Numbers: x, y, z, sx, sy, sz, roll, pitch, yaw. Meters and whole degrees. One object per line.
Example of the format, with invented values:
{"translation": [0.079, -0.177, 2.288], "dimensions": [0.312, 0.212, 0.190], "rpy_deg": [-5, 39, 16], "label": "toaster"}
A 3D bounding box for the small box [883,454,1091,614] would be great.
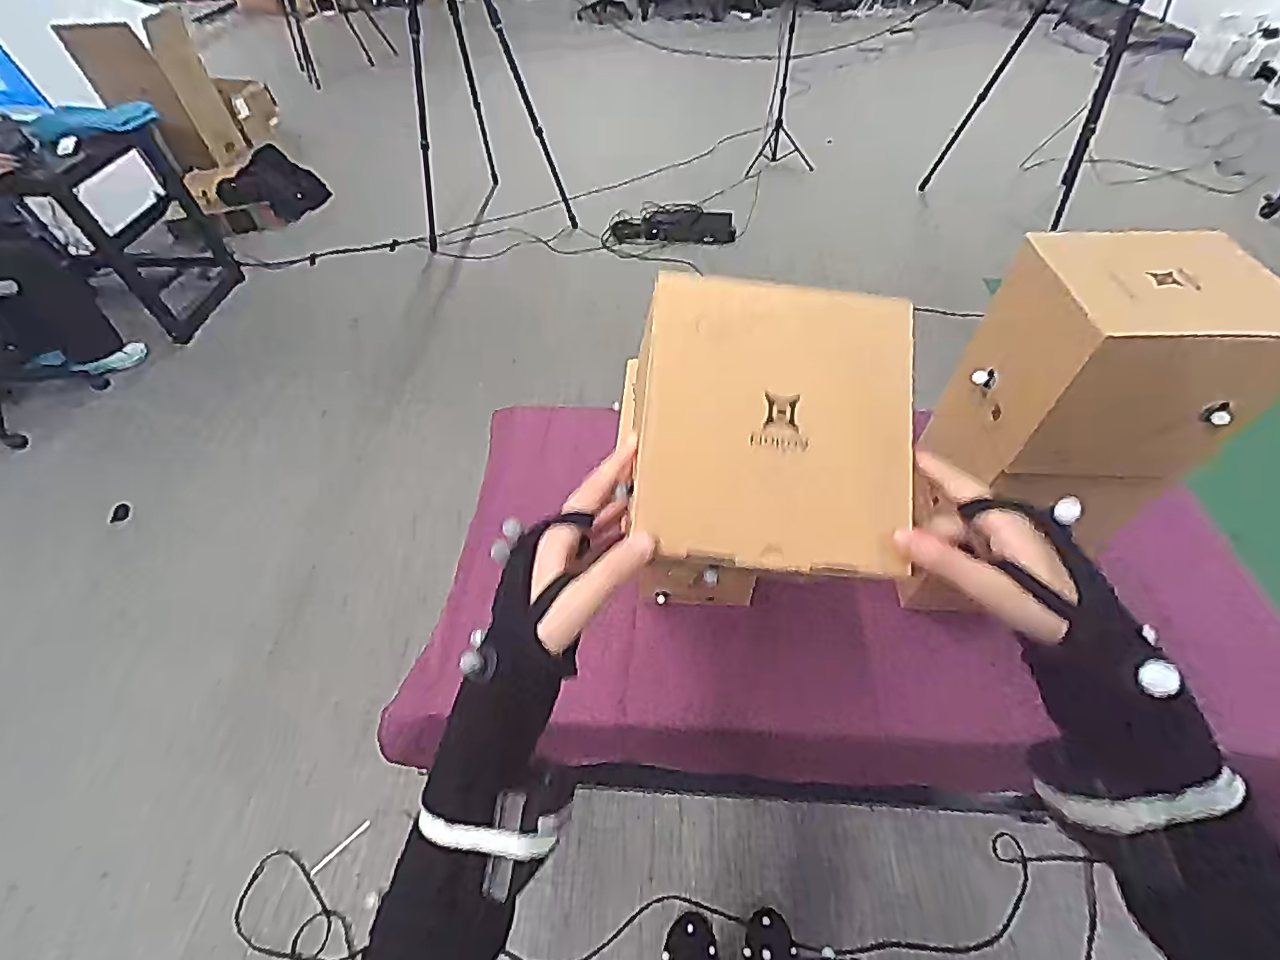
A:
{"translation": [0.479, 0.082, 0.781], "dimensions": [0.179, 0.176, 0.168], "rpy_deg": [2, 51, 5], "label": "small box"}

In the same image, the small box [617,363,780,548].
{"translation": [0.069, -0.027, 0.683], "dimensions": [0.179, 0.176, 0.168], "rpy_deg": [2, 51, 4], "label": "small box"}

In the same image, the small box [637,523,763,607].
{"translation": [0.087, 0.076, 0.811], "dimensions": [0.168, 0.176, 0.179], "rpy_deg": [1, 50, 4], "label": "small box"}

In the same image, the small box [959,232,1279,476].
{"translation": [0.449, -0.117, 0.521], "dimensions": [0.179, 0.176, 0.168], "rpy_deg": [1, 50, 5], "label": "small box"}
